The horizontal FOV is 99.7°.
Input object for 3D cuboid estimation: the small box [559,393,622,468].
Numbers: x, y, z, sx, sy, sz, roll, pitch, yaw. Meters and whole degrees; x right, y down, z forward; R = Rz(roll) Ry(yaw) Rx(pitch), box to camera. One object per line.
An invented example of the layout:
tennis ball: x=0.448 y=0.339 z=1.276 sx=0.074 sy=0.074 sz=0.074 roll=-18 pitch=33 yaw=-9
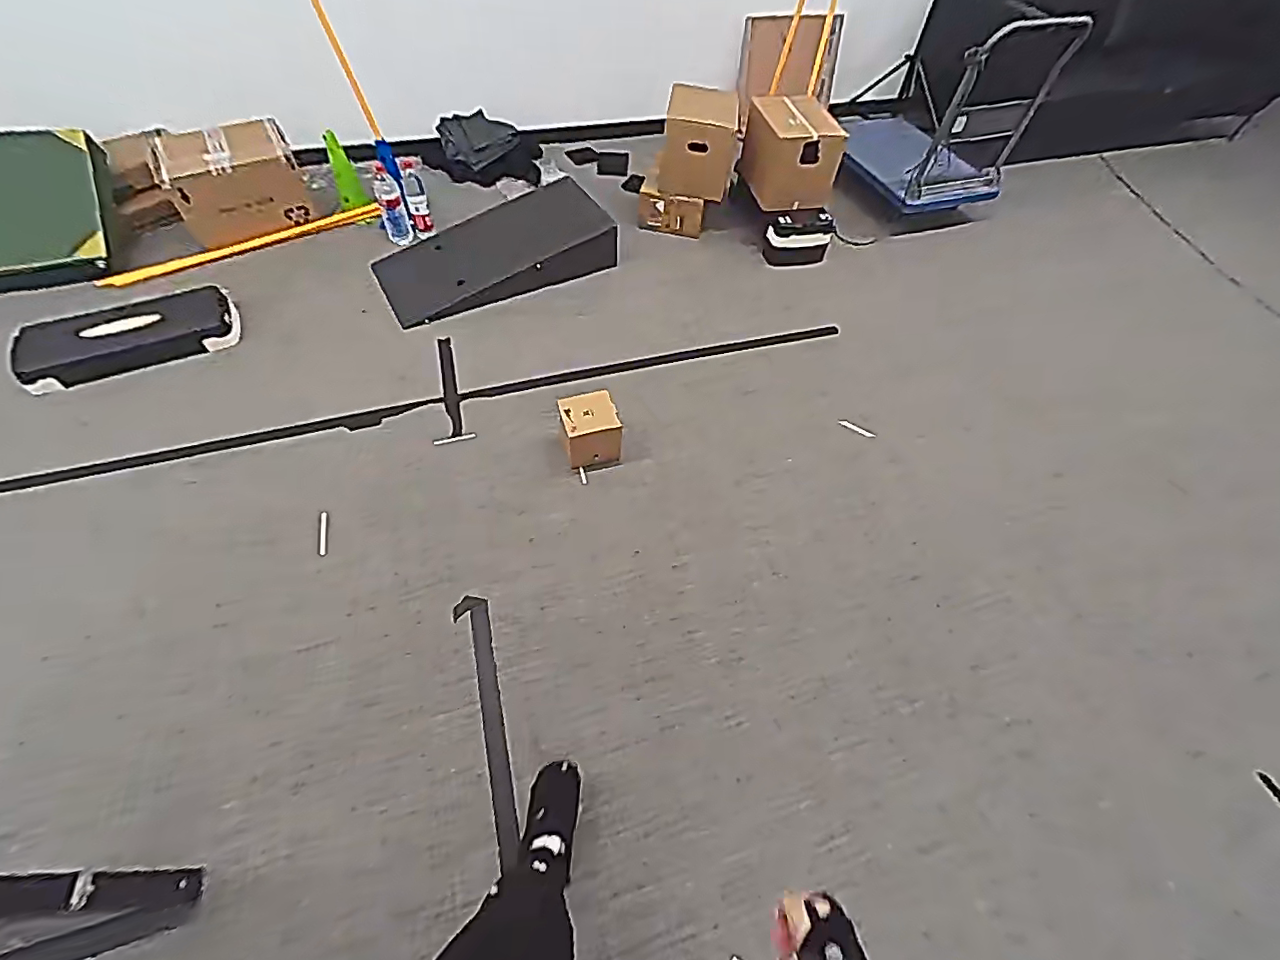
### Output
small box: x=-0.167 y=-0.161 z=1.794 sx=0.179 sy=0.176 sz=0.168 roll=-12 pitch=56 yaw=-13
